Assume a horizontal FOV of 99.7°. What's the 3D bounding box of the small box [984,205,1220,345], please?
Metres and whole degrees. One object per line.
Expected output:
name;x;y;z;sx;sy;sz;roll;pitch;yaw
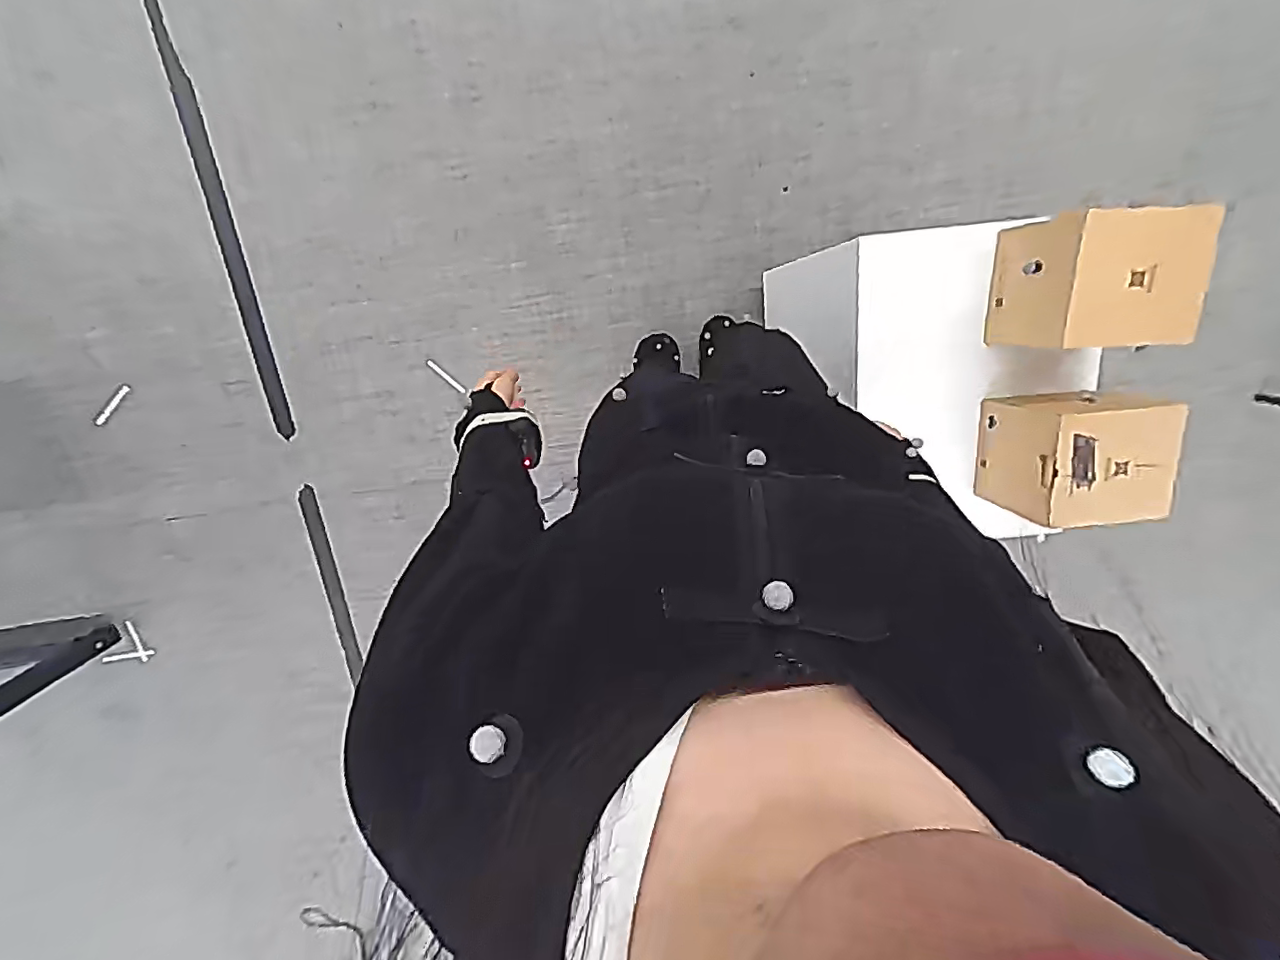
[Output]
small box;0.622;-0.276;0.755;0.179;0.176;0.168;-3;107;-2

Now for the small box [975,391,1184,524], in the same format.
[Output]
small box;0.647;-0.041;0.822;0.179;0.176;0.168;-5;106;-1
